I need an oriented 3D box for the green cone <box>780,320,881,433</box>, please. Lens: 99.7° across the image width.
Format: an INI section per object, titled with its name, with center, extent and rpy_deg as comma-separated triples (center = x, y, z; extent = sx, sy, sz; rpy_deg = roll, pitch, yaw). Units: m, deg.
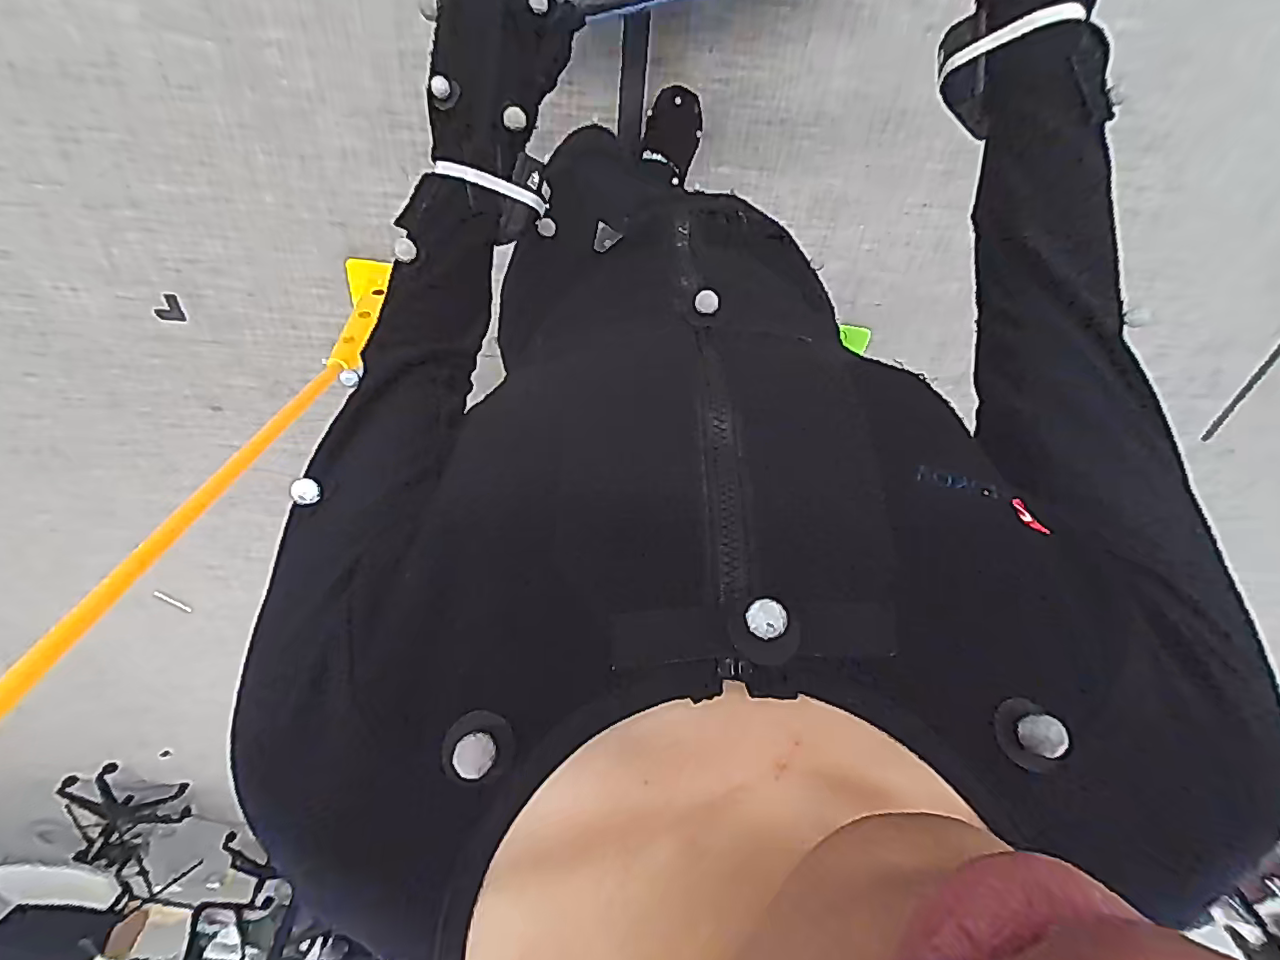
[green cone]
center = 0.507, -0.229, 1.349
extent = 0.202, 0.368, 0.200
rpy_deg = 5, 128, -7
